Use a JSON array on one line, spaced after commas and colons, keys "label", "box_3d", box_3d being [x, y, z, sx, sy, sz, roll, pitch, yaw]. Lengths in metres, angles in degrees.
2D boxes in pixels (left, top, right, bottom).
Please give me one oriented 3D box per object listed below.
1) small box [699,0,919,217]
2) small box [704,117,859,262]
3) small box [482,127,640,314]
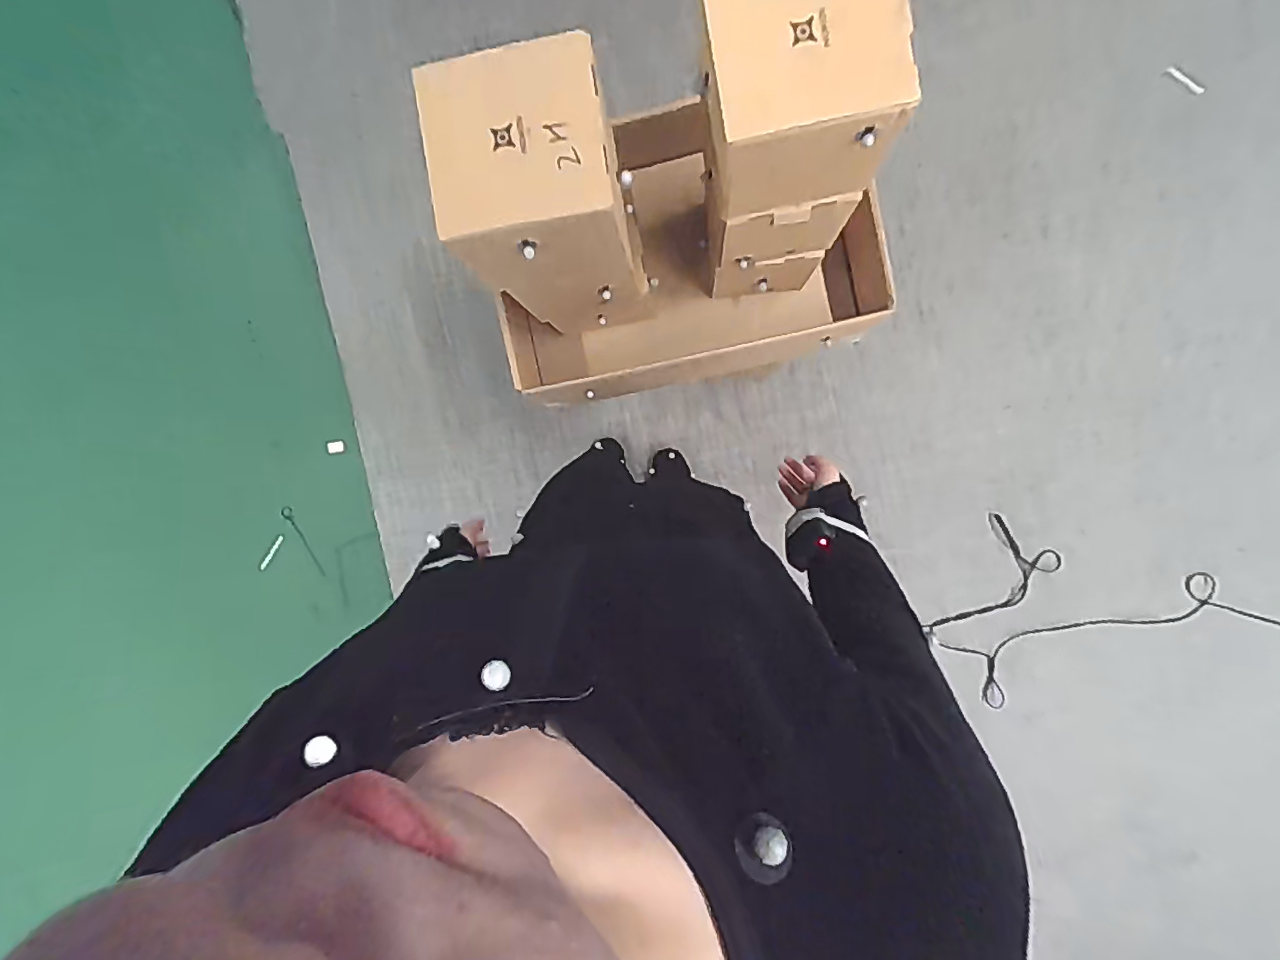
[{"label": "small box", "box_3d": [0.160, -0.402, 0.567, 0.179, 0.176, 0.168, -9, 92, 5]}, {"label": "small box", "box_3d": [0.179, -0.411, 0.729, 0.168, 0.176, 0.179, -8, 92, 6]}, {"label": "small box", "box_3d": [-0.099, -0.343, 0.757, 0.168, 0.176, 0.179, -10, 92, 5]}]
